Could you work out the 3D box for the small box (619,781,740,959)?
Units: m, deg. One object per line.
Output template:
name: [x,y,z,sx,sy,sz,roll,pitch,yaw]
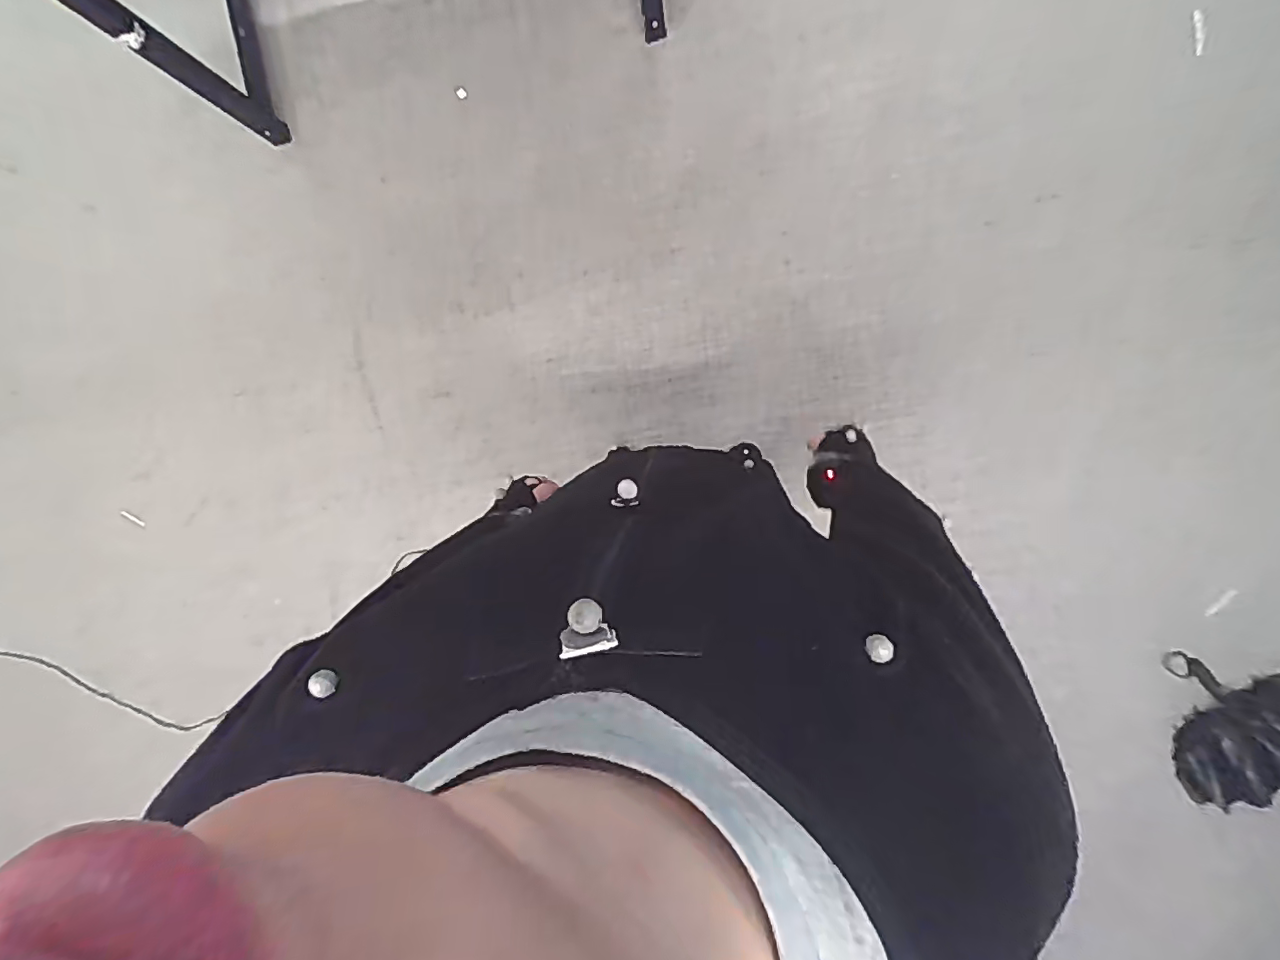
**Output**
small box: [0.071,0.652,0.918,0.168,0.176,0.179,-11,95,7]
